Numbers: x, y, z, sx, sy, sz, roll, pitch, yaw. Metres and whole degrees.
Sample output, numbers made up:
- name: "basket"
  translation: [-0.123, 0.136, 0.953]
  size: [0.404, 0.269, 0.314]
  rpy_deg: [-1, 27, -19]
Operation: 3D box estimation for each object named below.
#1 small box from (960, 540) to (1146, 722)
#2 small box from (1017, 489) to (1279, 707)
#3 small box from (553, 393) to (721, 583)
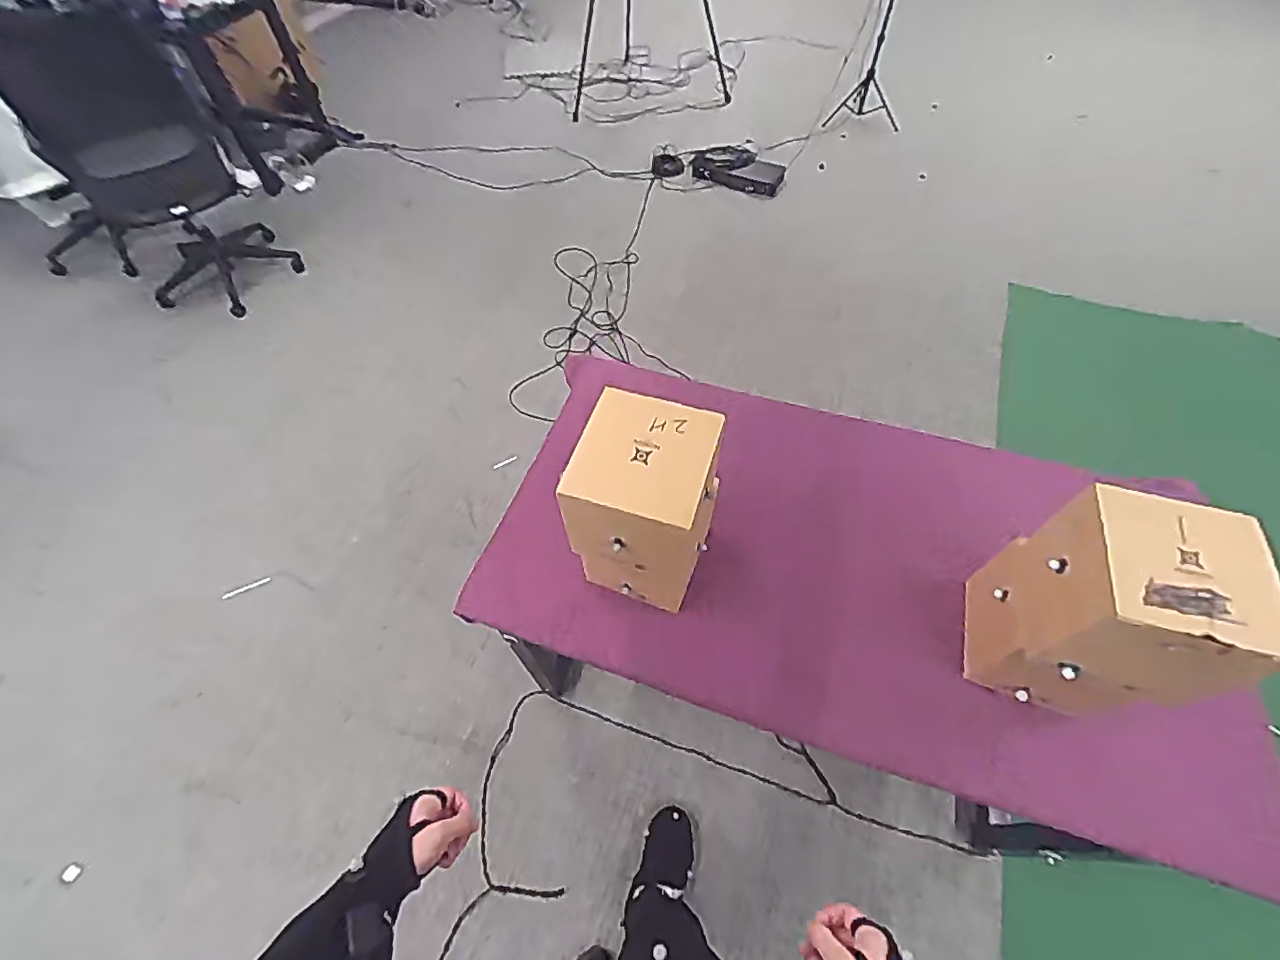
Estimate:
- name: "small box"
  translation: [0.588, 0.220, 0.780]
  size: [0.168, 0.176, 0.179]
  rpy_deg: [17, 58, 13]
- name: "small box"
  translation: [0.576, 0.143, 0.635]
  size: [0.168, 0.176, 0.179]
  rpy_deg: [15, 56, 12]
- name: "small box"
  translation: [0.003, 0.016, 0.729]
  size: [0.168, 0.176, 0.179]
  rpy_deg: [16, 59, 10]
